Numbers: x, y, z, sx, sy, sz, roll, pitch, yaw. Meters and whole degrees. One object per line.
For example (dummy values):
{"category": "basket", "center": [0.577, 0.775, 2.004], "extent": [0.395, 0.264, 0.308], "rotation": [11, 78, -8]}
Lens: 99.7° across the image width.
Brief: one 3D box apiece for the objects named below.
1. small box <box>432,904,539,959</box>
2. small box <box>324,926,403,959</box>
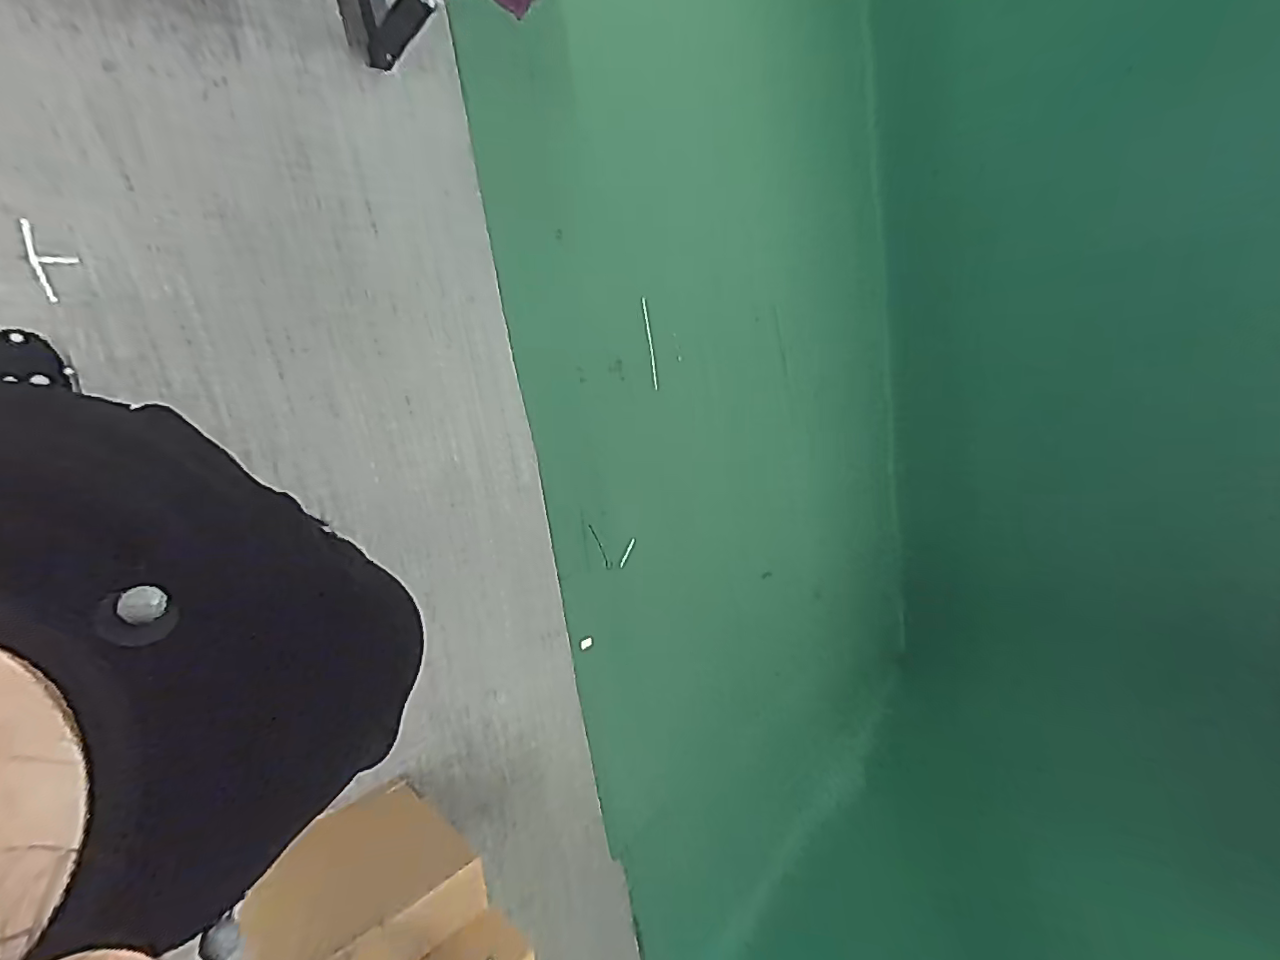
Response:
{"category": "small box", "center": [-0.322, 1.048, 1.119], "extent": [0.179, 0.176, 0.168], "rotation": [-14, 102, -44]}
{"category": "small box", "center": [-0.494, 0.954, 0.947], "extent": [0.168, 0.176, 0.179], "rotation": [-10, 100, -44]}
